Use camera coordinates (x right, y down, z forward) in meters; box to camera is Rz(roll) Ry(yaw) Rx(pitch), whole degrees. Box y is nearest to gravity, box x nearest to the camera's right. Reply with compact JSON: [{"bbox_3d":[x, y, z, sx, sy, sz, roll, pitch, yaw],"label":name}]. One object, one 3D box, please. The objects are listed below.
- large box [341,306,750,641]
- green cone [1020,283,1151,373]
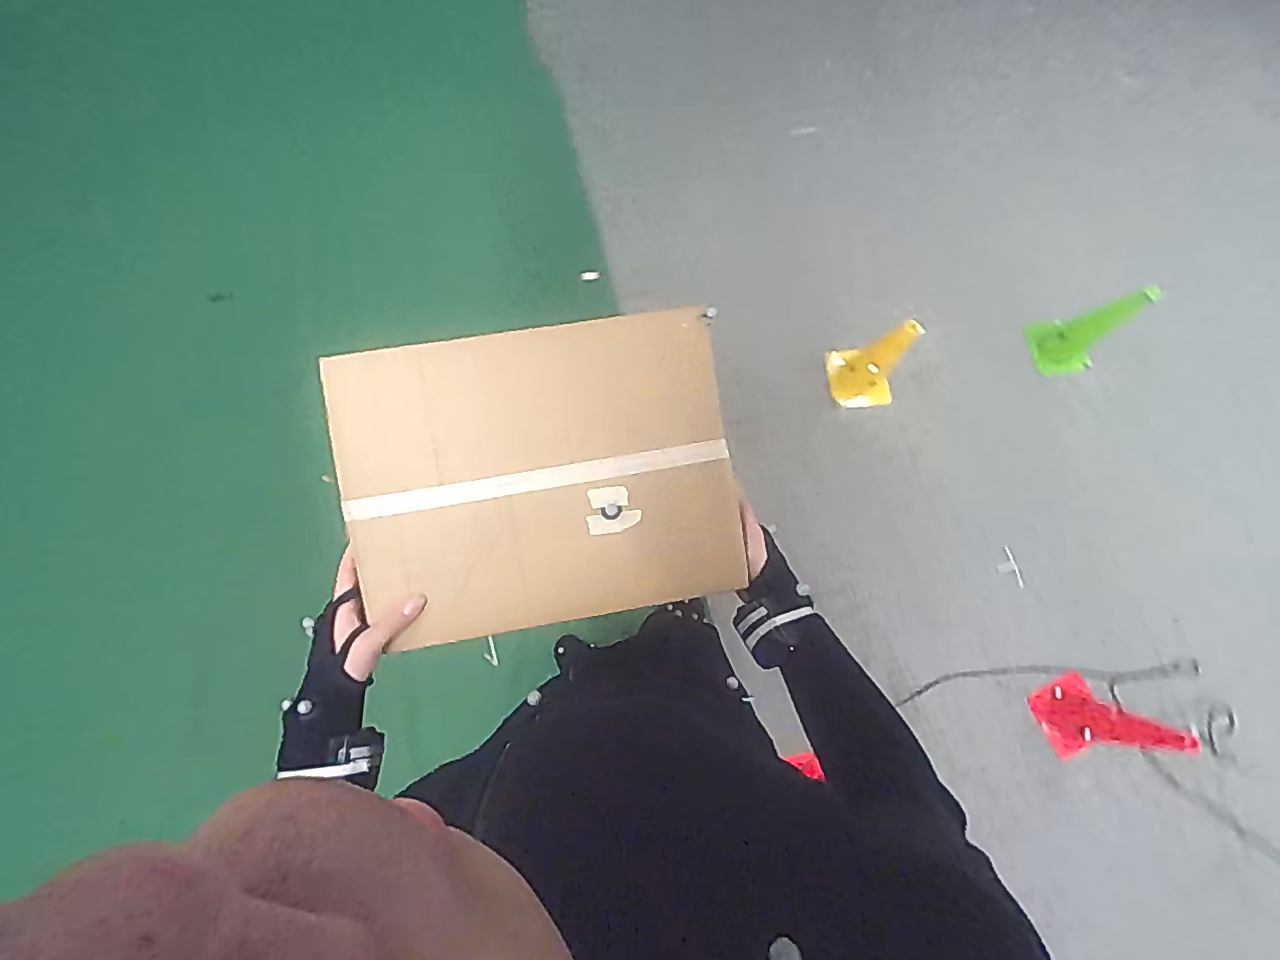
[{"bbox_3d":[-0.109,-0.012,0.729,0.408,0.320,0.320,-9,93,-5],"label":"large box"},{"bbox_3d":[1.474,-0.524,1.755,0.202,0.368,0.200,-9,77,-4],"label":"green cone"}]
